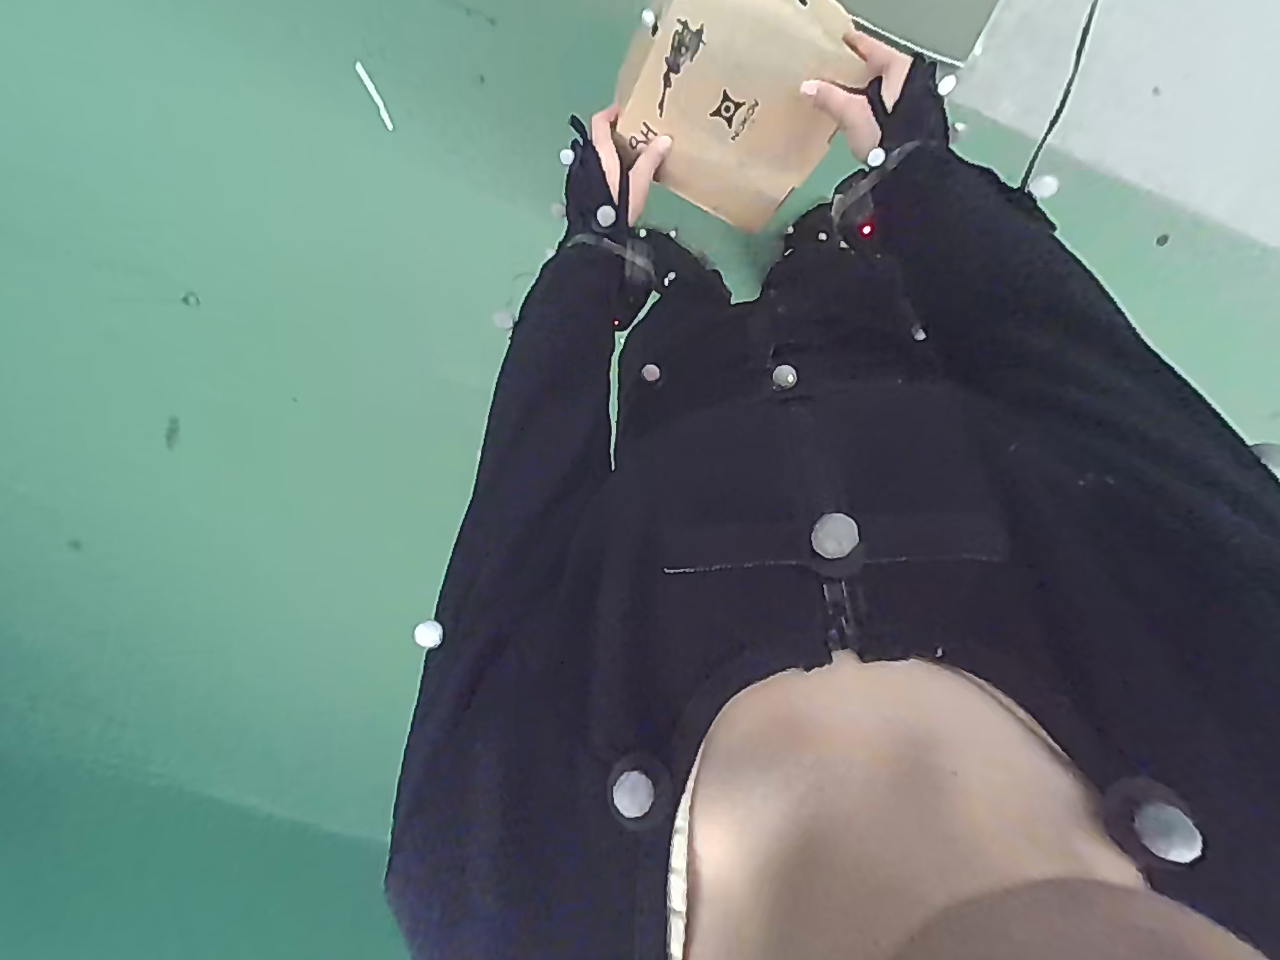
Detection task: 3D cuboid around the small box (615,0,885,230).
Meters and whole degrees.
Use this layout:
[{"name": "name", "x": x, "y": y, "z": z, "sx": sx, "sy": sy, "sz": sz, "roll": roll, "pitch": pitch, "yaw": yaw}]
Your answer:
[{"name": "small box", "x": 0.093, "y": -0.387, "z": 0.515, "sx": 0.179, "sy": 0.176, "sz": 0.168, "roll": 19, "pitch": 141, "yaw": -22}]
